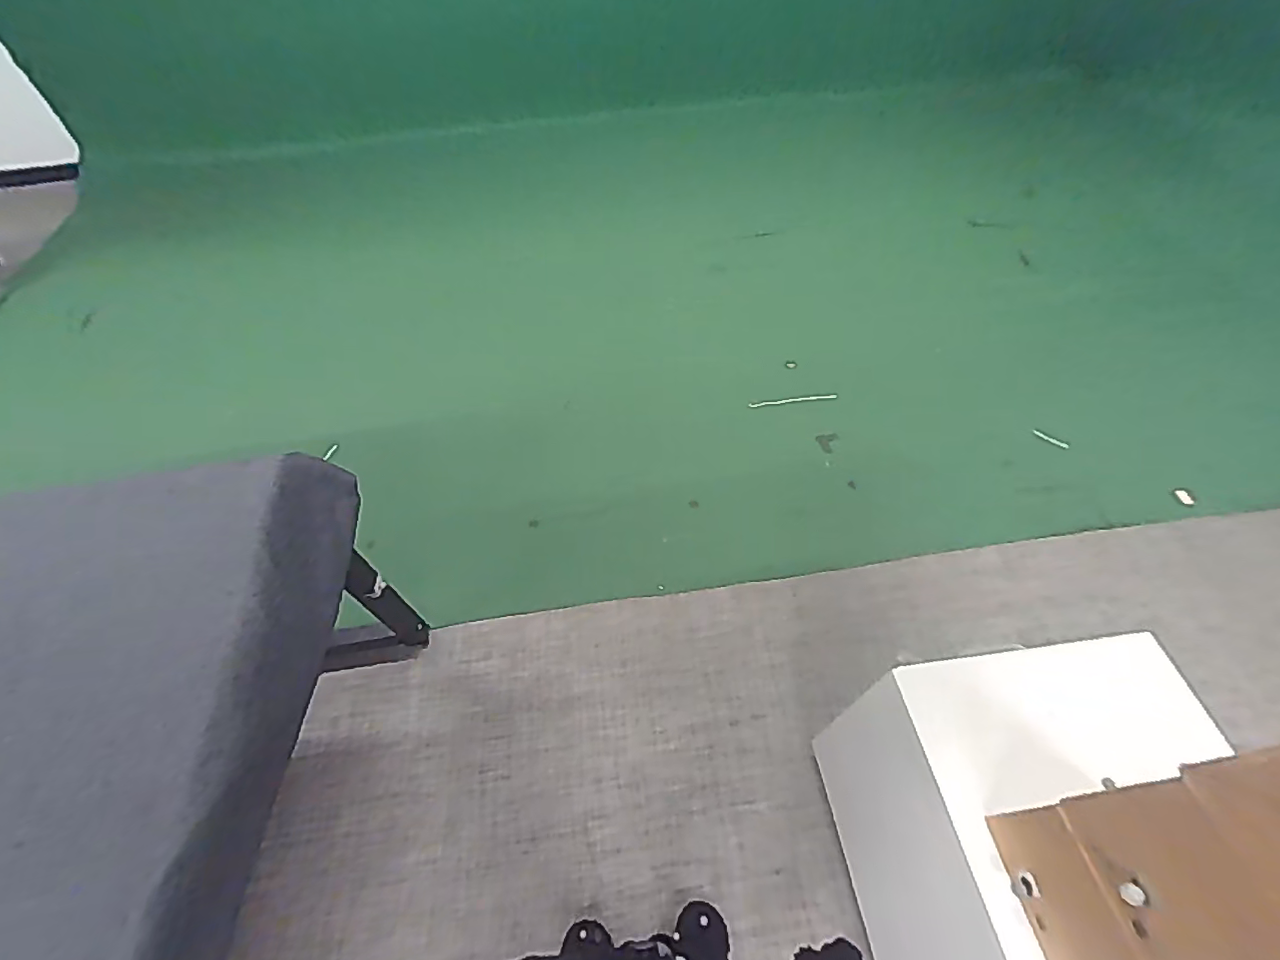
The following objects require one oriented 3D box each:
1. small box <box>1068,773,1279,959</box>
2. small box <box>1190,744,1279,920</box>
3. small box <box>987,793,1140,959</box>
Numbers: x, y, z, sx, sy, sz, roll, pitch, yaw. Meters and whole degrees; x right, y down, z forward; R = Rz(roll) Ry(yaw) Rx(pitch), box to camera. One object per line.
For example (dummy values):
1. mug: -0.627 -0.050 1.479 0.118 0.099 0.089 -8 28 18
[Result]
1. small box: 0.512 0.328 0.433 0.179 0.176 0.168 -9 54 -5
2. small box: 0.496 0.229 0.303 0.168 0.176 0.179 -10 53 -3
3. small box: 0.517 0.426 0.564 0.179 0.176 0.168 -10 53 -2
